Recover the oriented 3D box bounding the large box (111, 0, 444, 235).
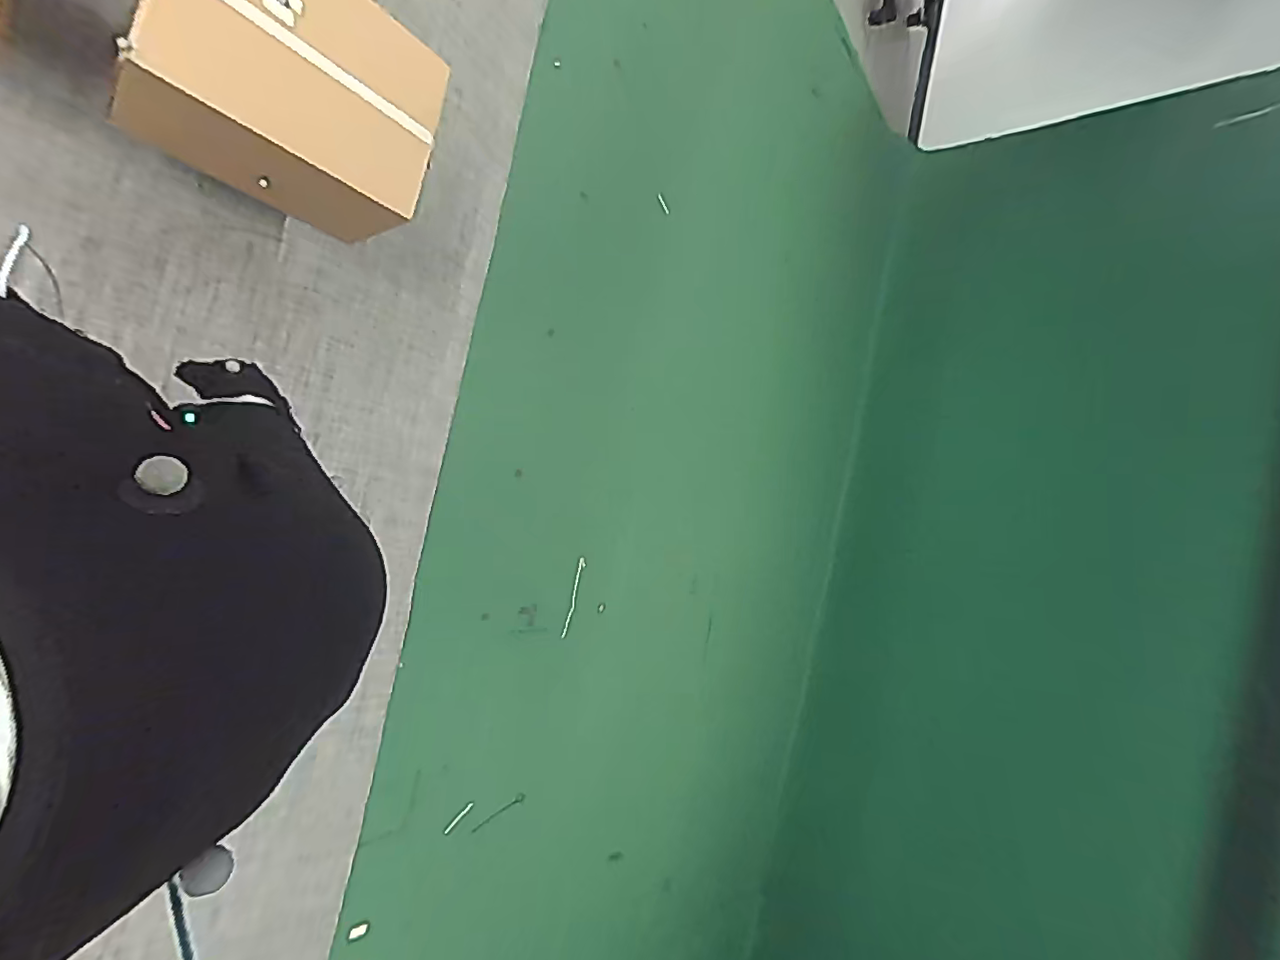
[{"bbox_3d":[-0.644,-0.707,0.986,0.408,0.320,0.320,16,85,-48],"label":"large box"}]
